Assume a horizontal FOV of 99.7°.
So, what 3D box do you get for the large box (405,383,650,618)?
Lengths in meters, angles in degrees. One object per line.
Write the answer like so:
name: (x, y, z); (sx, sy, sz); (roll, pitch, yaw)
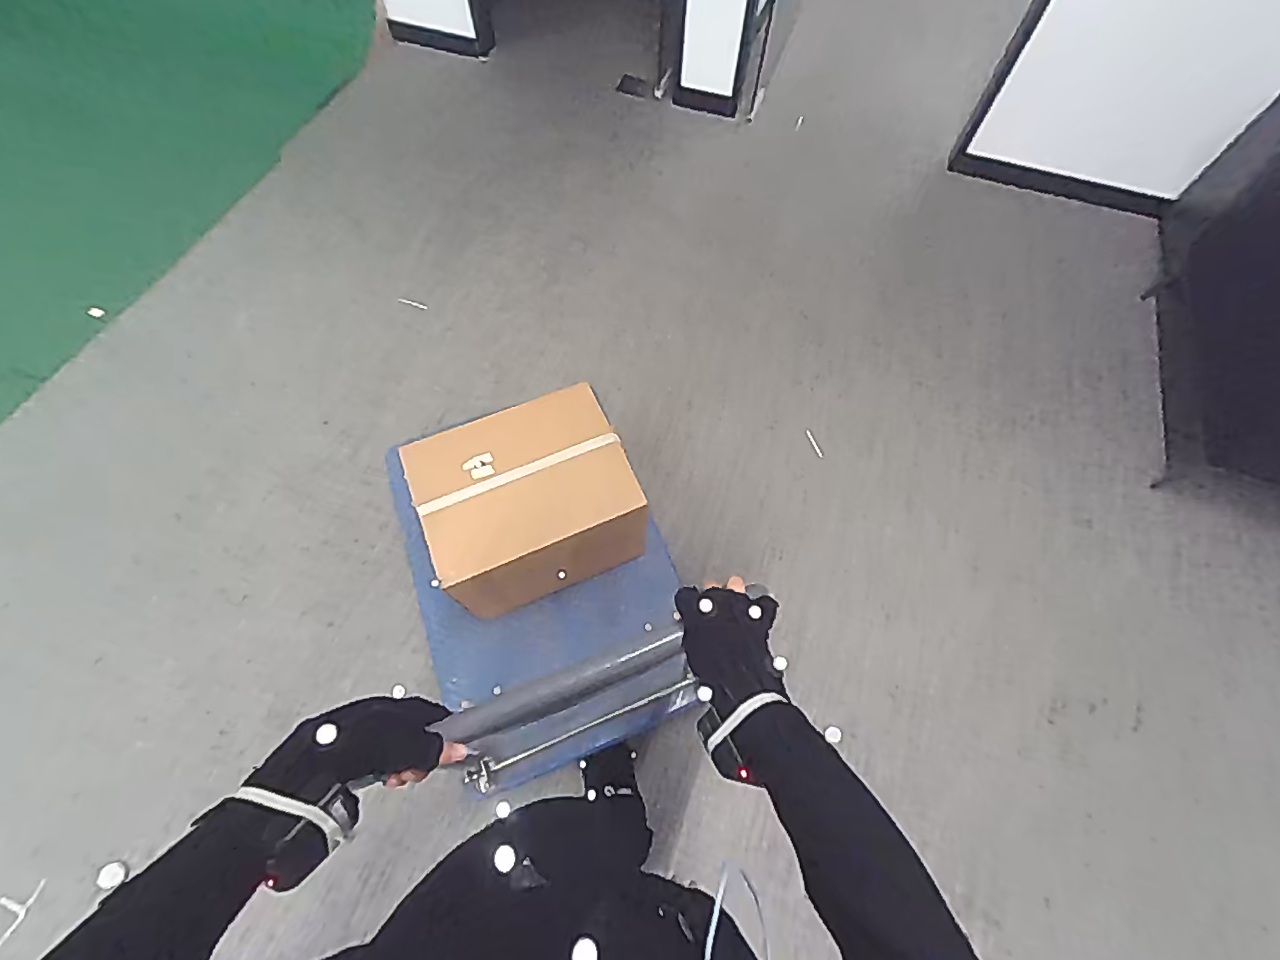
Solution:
large box: (-0.225, 0.056, 1.185); (0.408, 0.320, 0.320); (-23, 66, -11)
